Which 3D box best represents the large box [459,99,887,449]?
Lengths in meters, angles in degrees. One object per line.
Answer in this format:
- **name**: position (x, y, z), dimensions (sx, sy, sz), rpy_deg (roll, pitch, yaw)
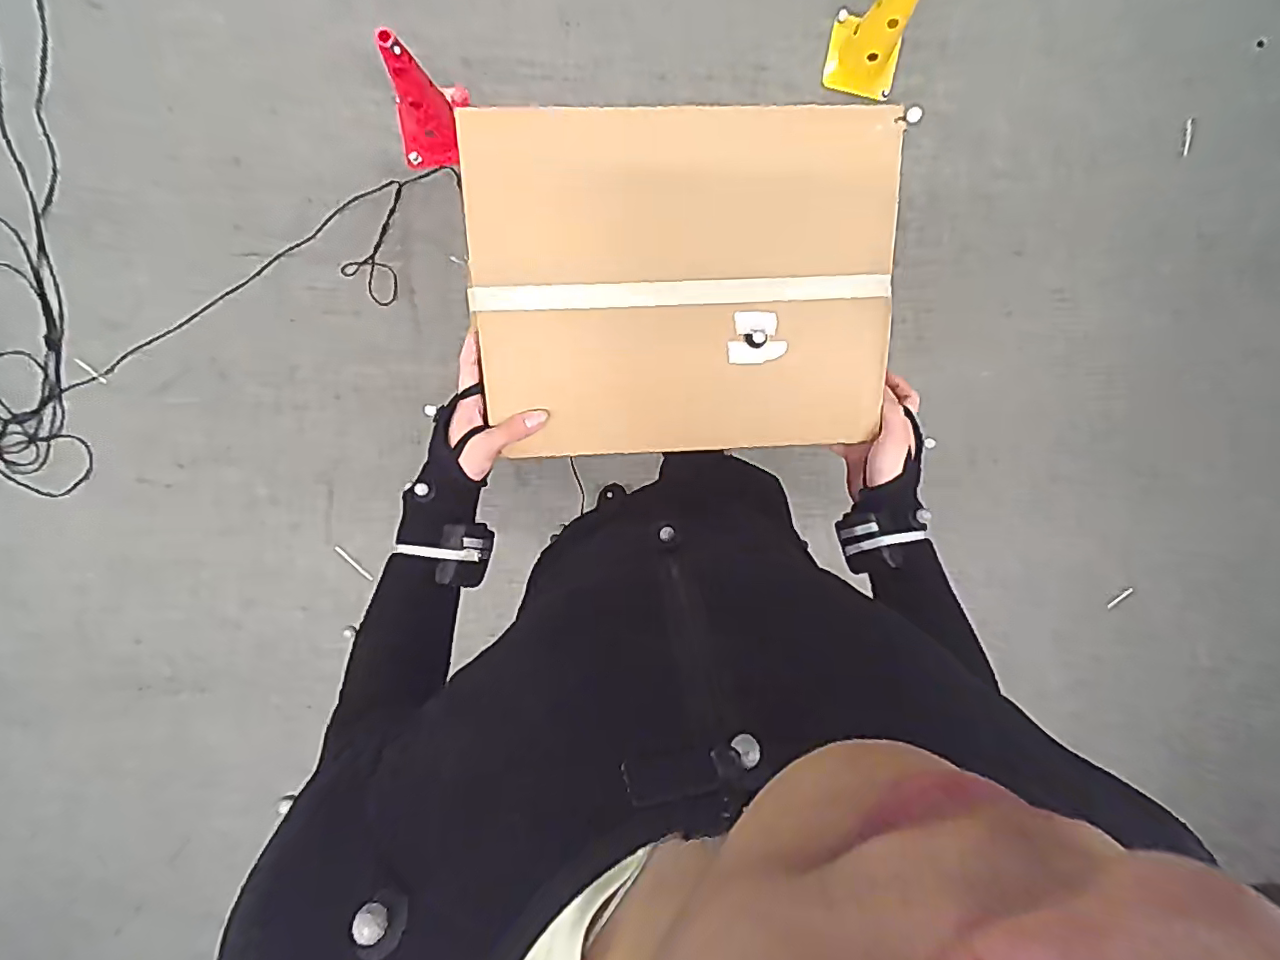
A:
- **large box**: position (0.029, -0.230, 0.672), dimensions (0.408, 0.320, 0.320), rpy_deg (-3, 105, -4)
